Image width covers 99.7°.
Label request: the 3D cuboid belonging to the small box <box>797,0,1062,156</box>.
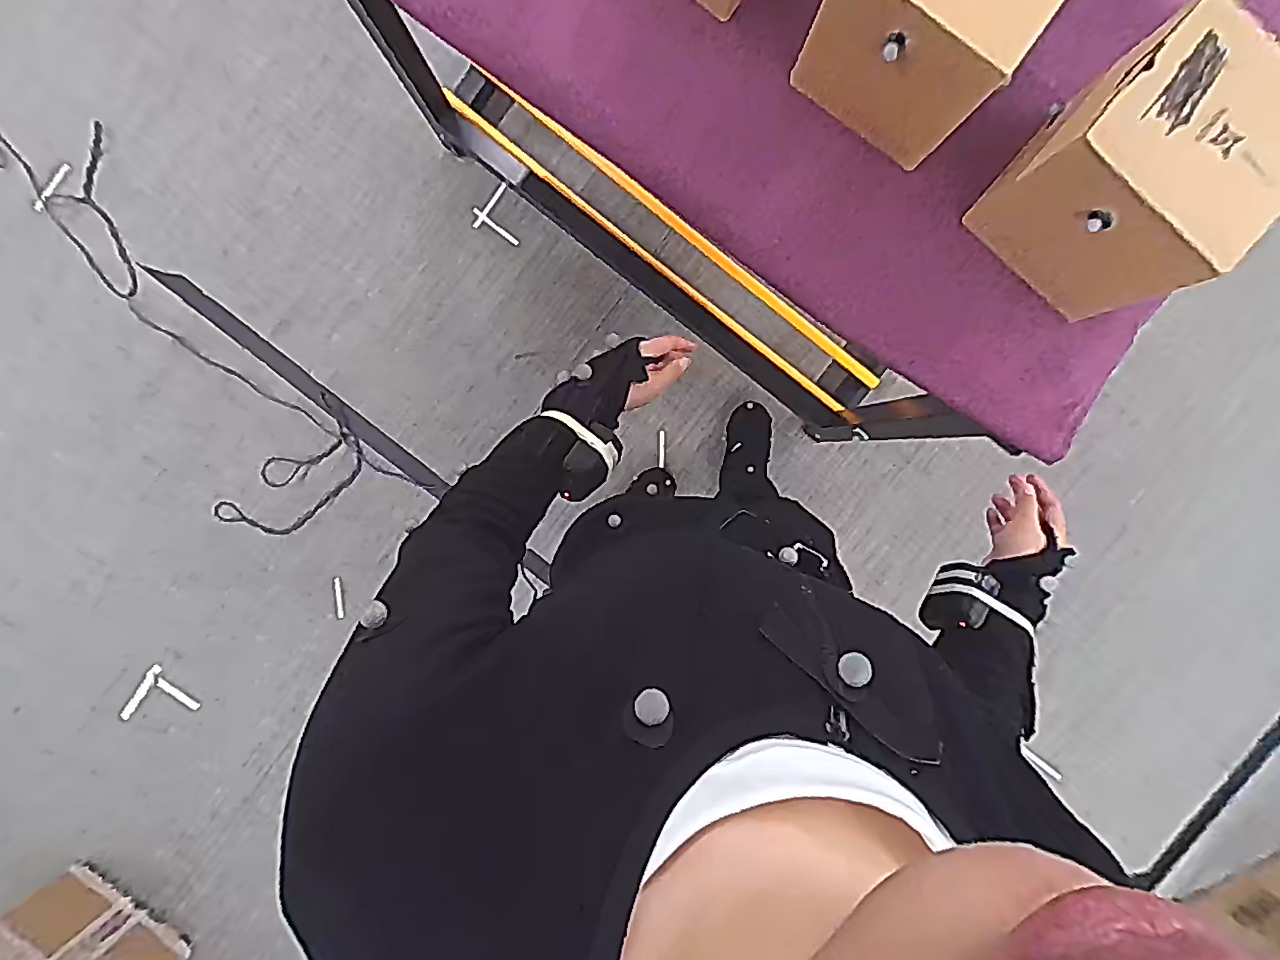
[{"bbox_3d":[0.287,-0.461,0.531,0.179,0.176,0.168,35,93,-1],"label":"small box"}]

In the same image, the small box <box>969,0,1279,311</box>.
[{"bbox_3d":[0.483,-0.297,0.538,0.179,0.176,0.168,41,92,-3],"label":"small box"}]
